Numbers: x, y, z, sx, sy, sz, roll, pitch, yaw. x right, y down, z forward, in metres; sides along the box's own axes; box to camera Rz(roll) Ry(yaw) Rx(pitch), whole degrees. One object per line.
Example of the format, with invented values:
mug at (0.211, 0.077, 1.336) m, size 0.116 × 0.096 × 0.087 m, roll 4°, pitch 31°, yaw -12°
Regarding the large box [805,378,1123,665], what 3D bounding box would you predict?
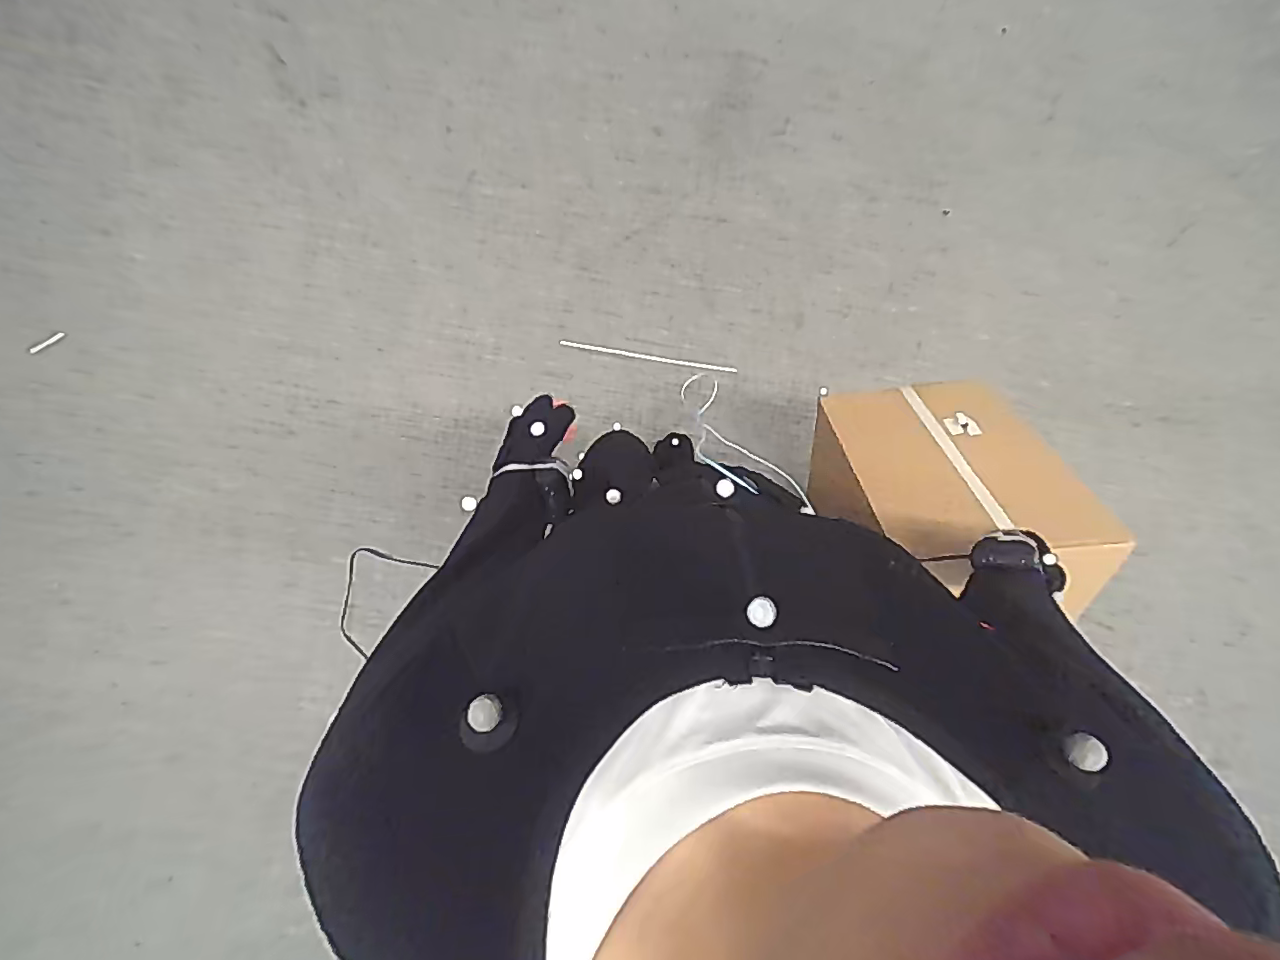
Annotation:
large box at (0.512, 0.066, 0.978) m, size 0.320 × 0.408 × 0.320 m, roll -5°, pitch 132°, yaw 2°
